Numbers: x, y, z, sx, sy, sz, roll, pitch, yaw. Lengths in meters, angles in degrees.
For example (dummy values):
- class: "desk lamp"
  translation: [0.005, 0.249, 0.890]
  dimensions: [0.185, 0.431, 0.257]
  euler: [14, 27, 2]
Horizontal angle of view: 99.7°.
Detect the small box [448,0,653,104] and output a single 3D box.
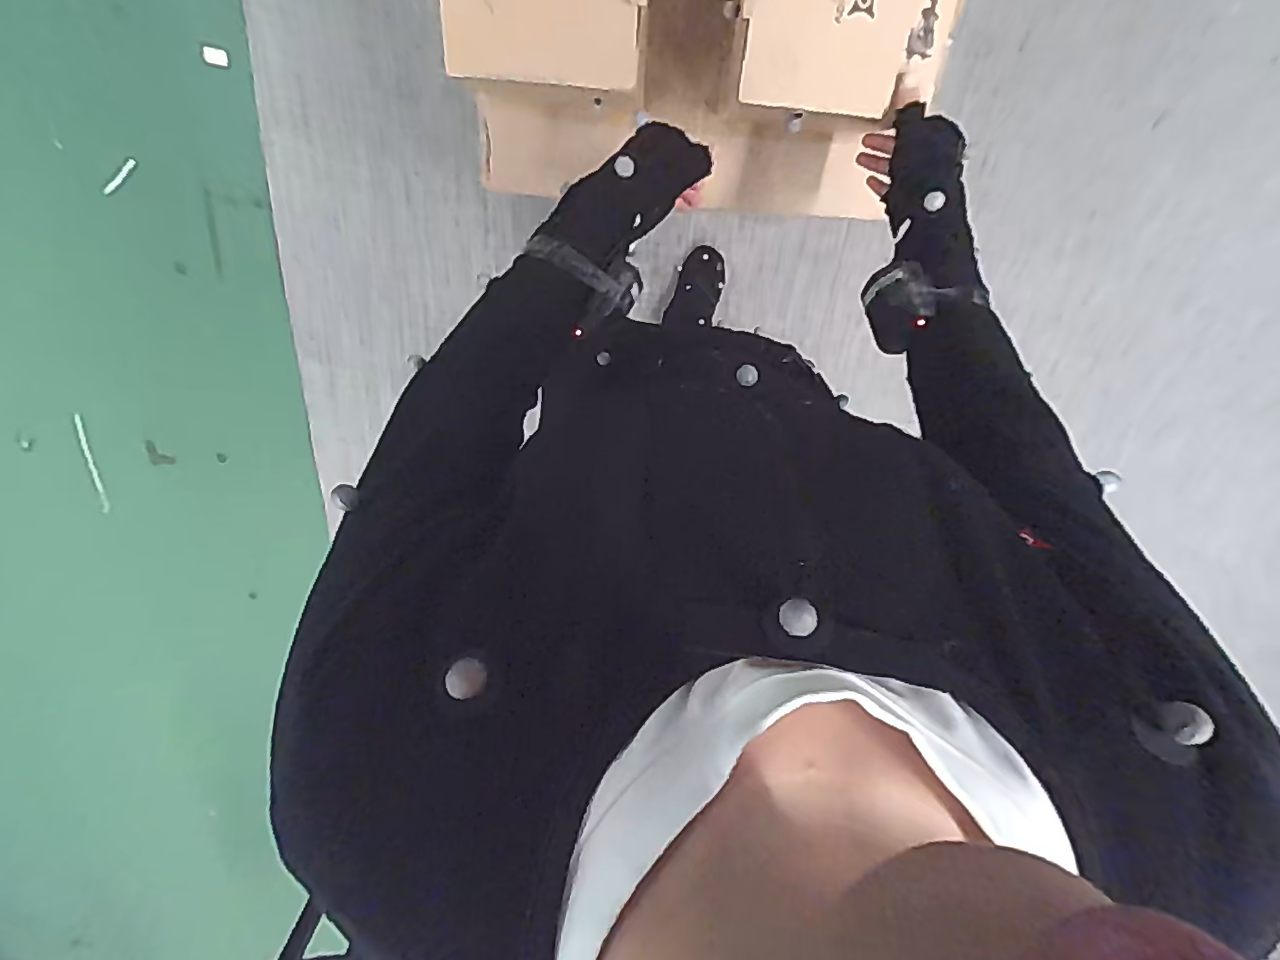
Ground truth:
- class: "small box"
  translation: [-0.075, -0.475, 0.522]
  dimensions: [0.179, 0.176, 0.168]
  euler: [4, 119, 1]
